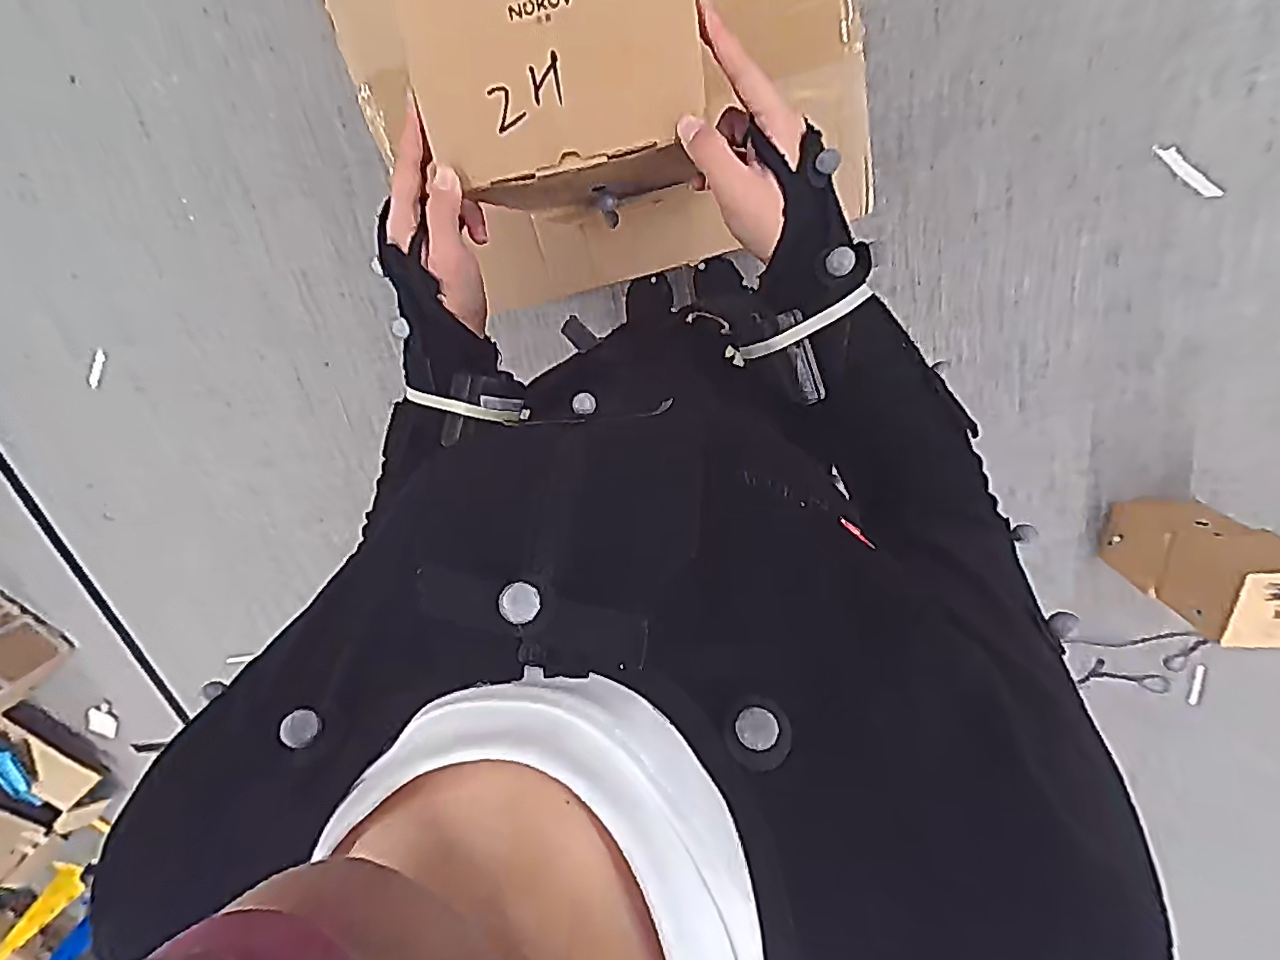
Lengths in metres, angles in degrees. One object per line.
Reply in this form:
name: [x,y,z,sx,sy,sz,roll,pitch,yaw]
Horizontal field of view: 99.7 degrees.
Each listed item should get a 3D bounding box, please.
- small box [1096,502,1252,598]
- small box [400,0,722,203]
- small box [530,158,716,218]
small box: [1.225,0.157,1.257,0.179,0.176,0.168,-2,112,9]
small box: [-0.040,-0.296,0.349,0.168,0.176,0.179,-6,111,10]
small box: [-0.021,-0.354,0.504,0.168,0.176,0.179,-9,111,11]
